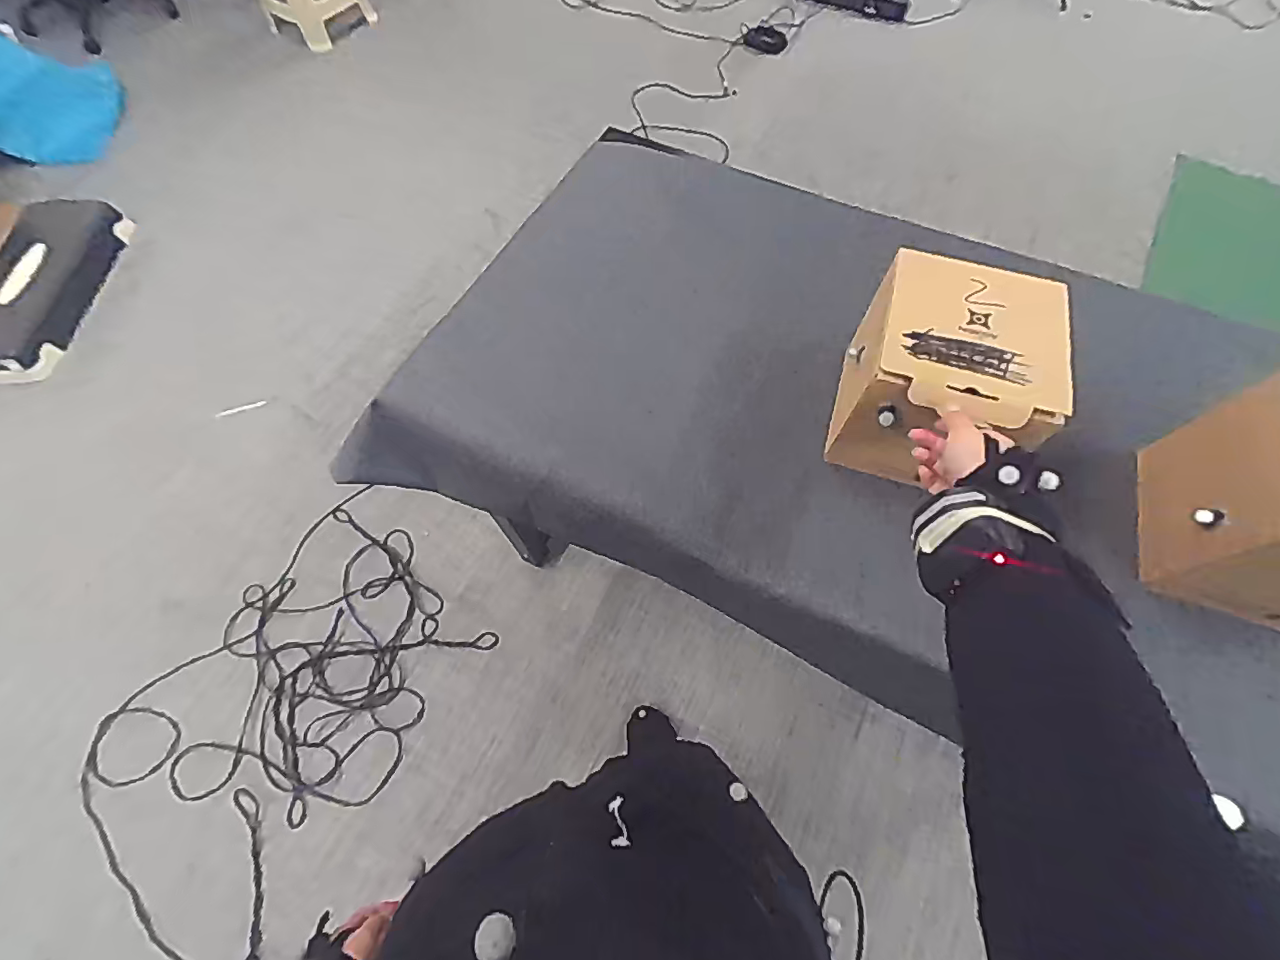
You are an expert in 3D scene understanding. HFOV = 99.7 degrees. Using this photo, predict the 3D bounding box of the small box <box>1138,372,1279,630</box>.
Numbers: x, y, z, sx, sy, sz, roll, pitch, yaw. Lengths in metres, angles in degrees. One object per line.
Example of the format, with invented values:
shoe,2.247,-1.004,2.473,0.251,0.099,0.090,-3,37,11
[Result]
small box,0.629,0.033,0.515,0.168,0.176,0.179,19,65,8
